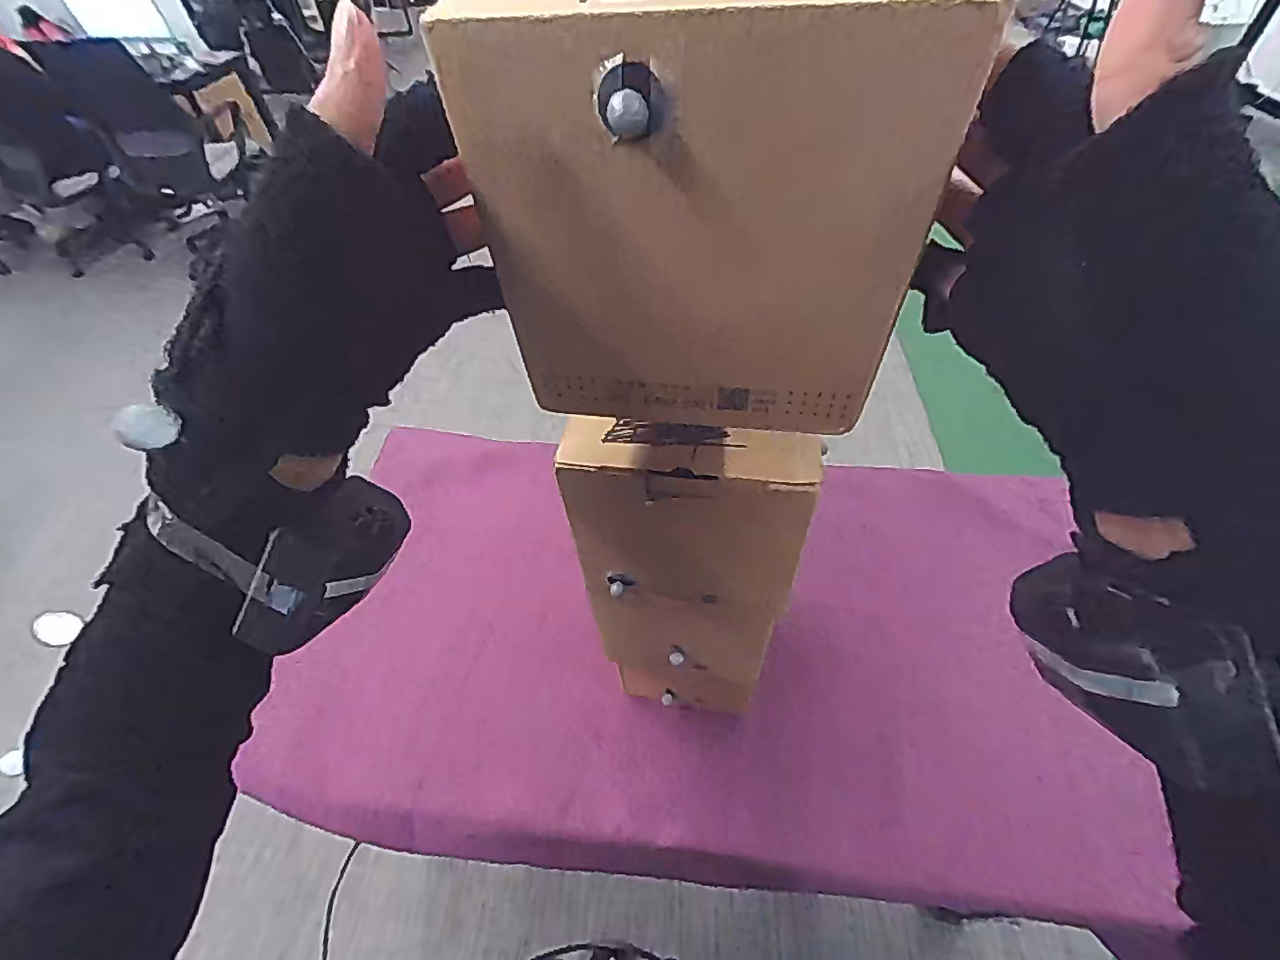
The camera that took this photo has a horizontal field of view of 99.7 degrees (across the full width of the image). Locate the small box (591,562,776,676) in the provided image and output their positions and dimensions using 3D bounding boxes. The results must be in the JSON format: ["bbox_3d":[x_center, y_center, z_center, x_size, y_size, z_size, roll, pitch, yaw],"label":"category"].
[{"bbox_3d":[0.054,0.085,0.579,0.168,0.176,0.179,5,50,9],"label":"small box"}]

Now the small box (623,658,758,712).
[{"bbox_3d":[0.070,0.179,0.712,0.168,0.176,0.179,6,51,10],"label":"small box"}]

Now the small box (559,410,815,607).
[{"bbox_3d":[0.047,-0.015,0.448,0.168,0.176,0.179,6,49,10],"label":"small box"}]

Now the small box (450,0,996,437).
[{"bbox_3d":[0.037,-0.147,0.272,0.168,0.176,0.179,6,53,10],"label":"small box"}]
